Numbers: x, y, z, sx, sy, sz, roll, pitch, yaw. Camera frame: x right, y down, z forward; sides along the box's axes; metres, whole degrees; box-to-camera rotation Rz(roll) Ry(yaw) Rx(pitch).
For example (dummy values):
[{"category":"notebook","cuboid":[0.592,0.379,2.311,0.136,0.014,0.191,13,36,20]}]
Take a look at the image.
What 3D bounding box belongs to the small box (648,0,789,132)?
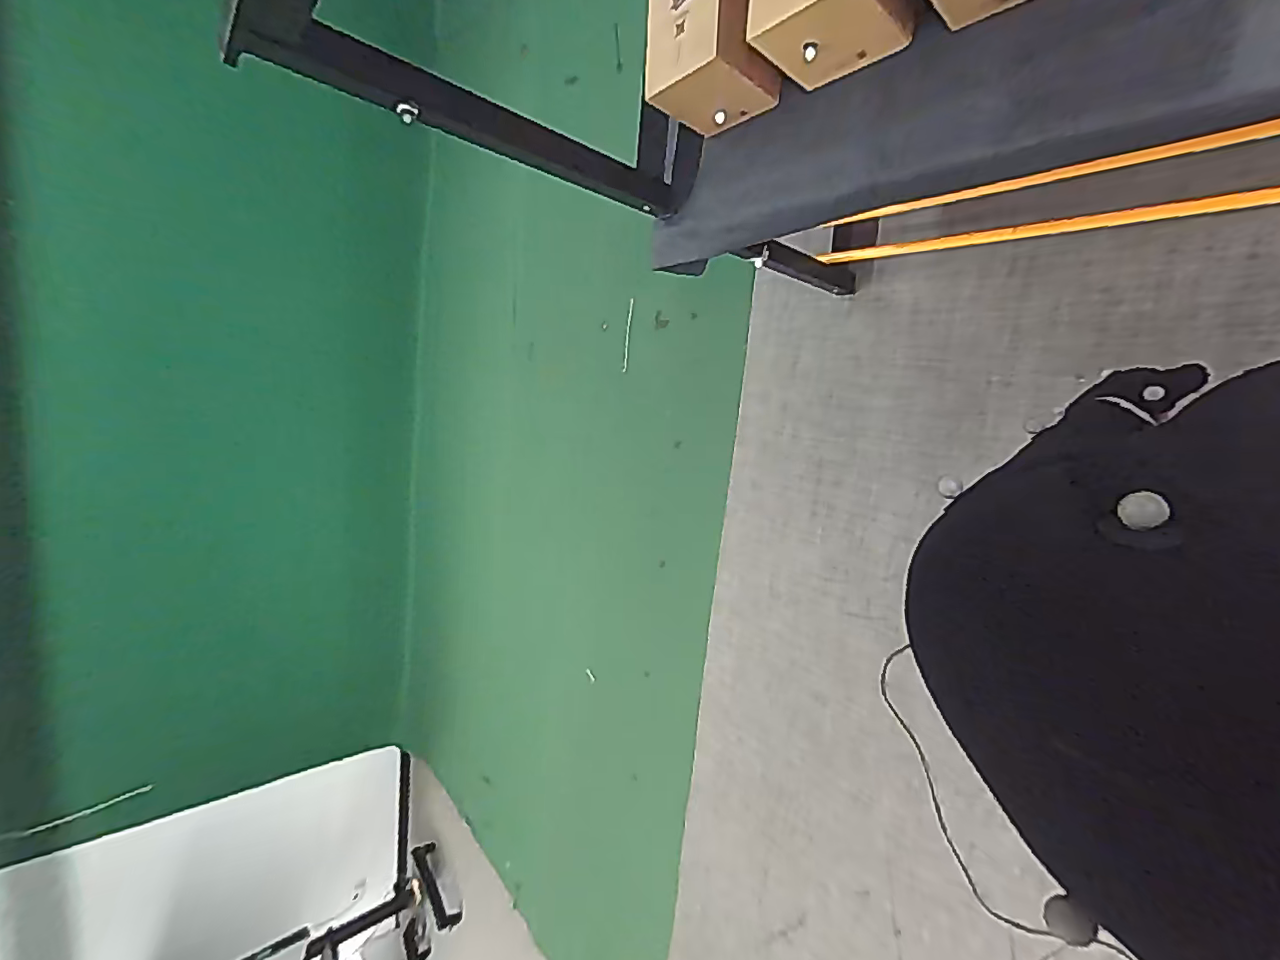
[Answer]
[{"category":"small box","cuboid":[0.135,-0.740,0.920,0.168,0.176,0.179,10,100,49]}]
